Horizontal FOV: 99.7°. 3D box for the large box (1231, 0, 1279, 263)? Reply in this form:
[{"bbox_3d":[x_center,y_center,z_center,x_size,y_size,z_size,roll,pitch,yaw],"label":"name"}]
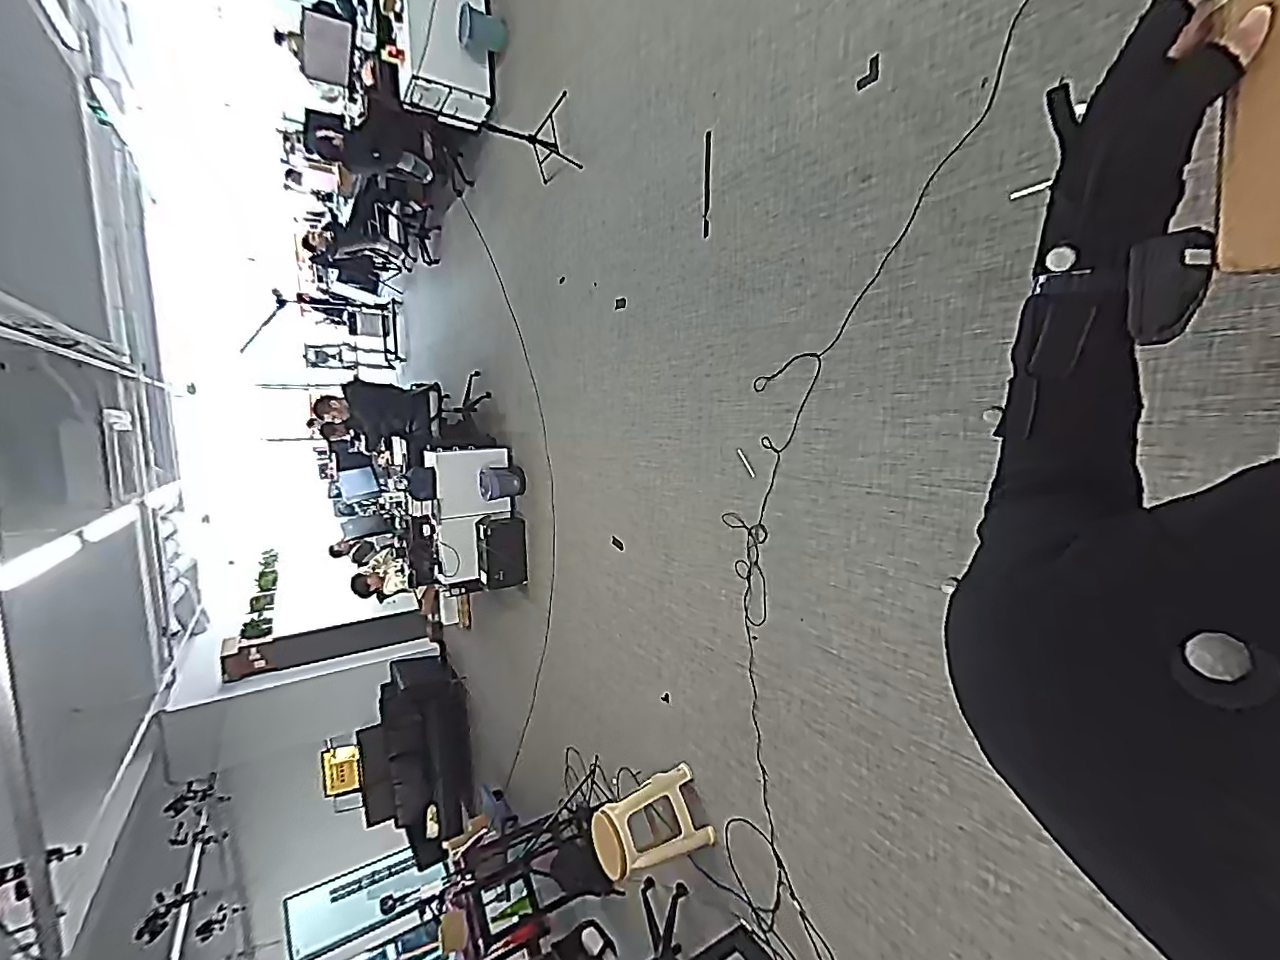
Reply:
[{"bbox_3d":[0.559,-0.299,0.220,0.408,0.320,0.320,6,108,53],"label":"large box"}]
